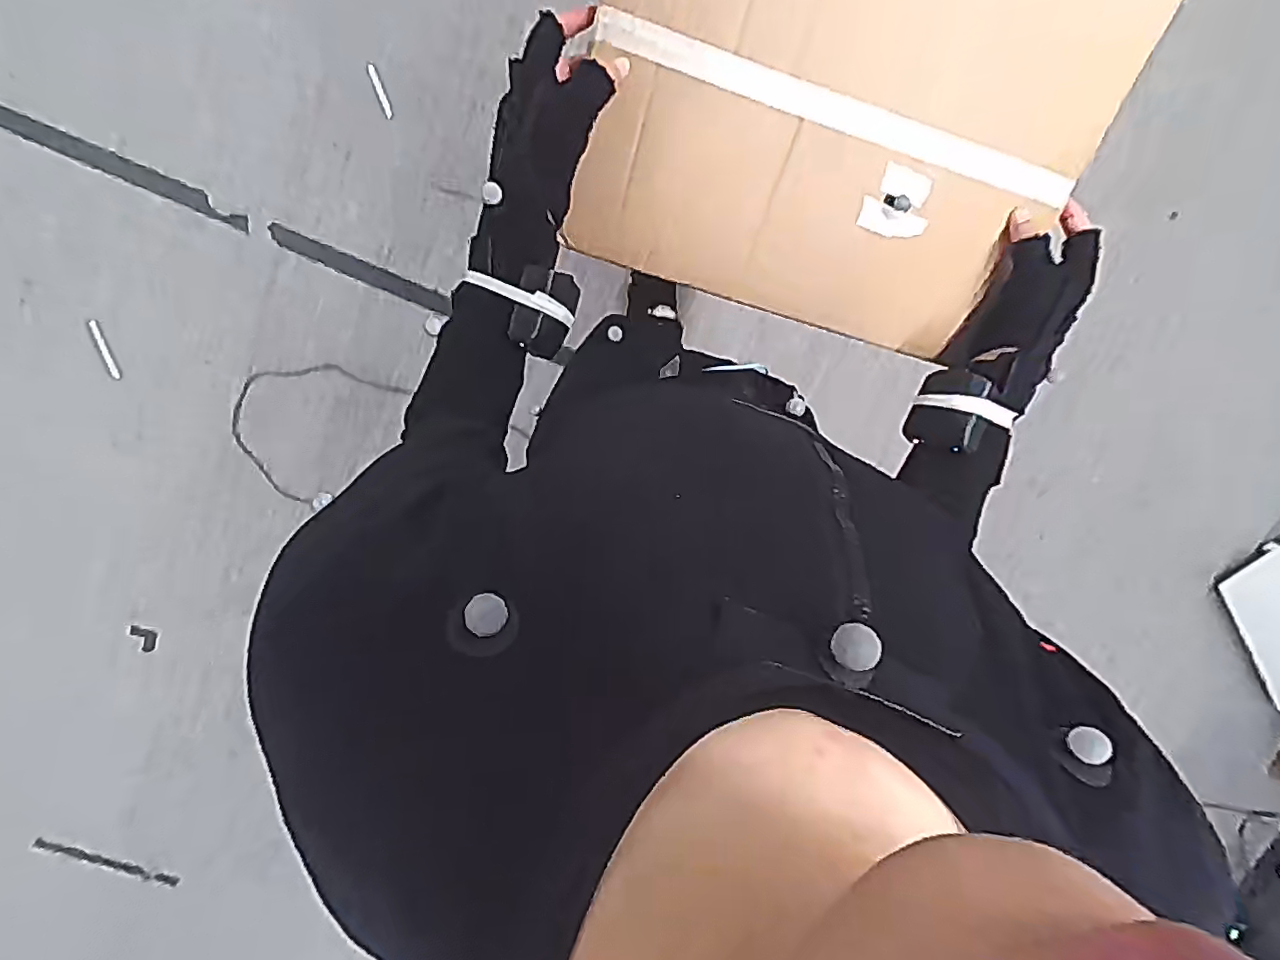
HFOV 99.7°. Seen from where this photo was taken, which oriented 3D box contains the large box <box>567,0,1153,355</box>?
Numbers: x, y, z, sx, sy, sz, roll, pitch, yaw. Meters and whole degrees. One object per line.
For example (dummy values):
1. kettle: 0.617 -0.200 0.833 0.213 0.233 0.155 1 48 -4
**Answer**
1. large box: 0.159 -0.367 0.575 0.408 0.320 0.320 14 118 -9
